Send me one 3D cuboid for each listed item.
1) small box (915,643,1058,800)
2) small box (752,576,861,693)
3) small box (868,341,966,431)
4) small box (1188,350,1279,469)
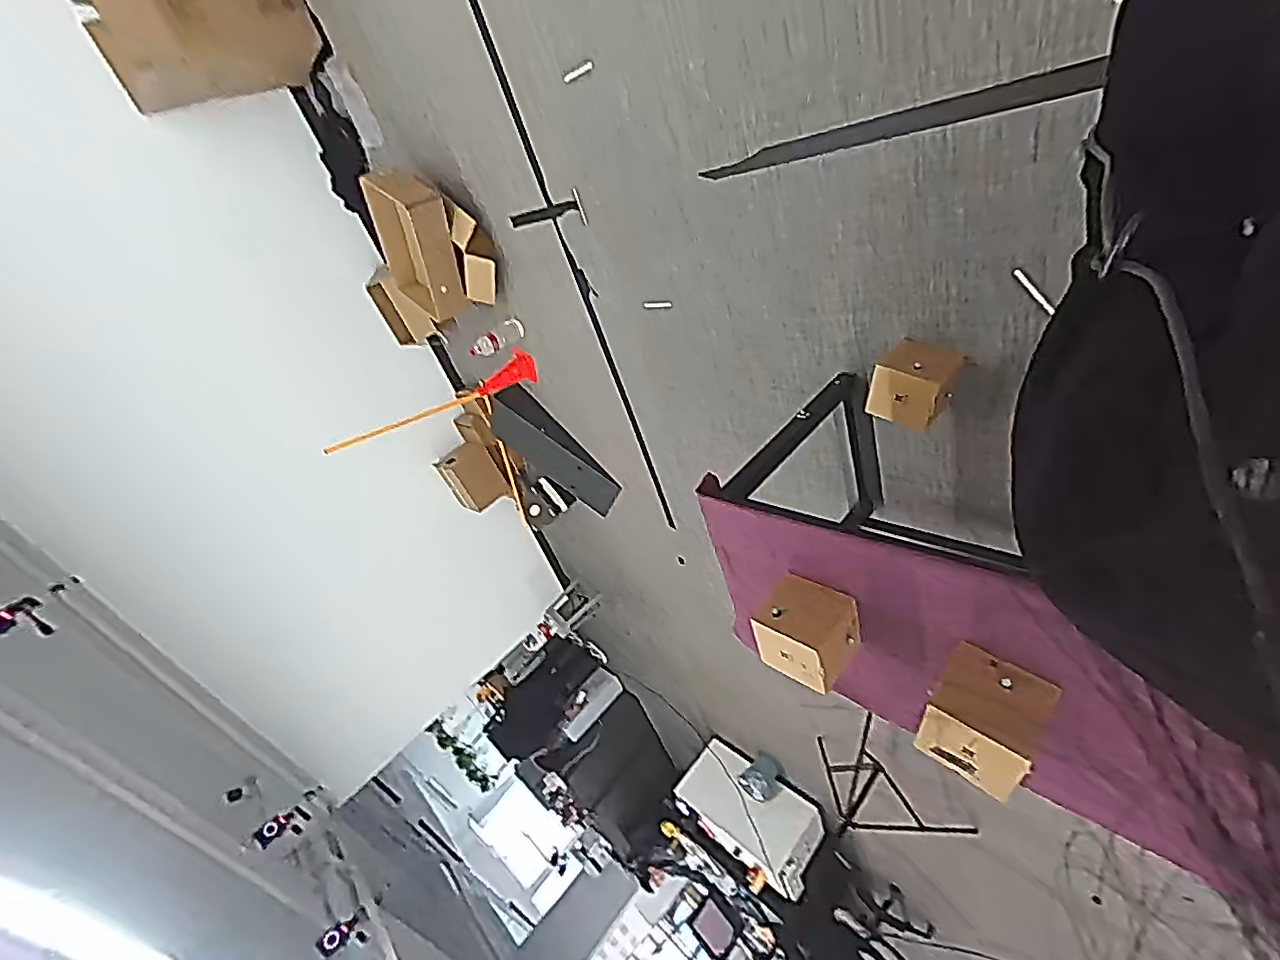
[{"bbox_3d":[0.652,0.450,1.023,0.168,0.176,0.179,26,143,36],"label":"small box"},{"bbox_3d":[0.394,0.354,1.271,0.179,0.176,0.168,18,139,44],"label":"small box"},{"bbox_3d":[0.777,-0.271,1.522,0.179,0.176,0.168,29,145,32],"label":"small box"},{"bbox_3d":[1.220,-0.141,1.049,0.179,0.176,0.168,18,137,45],"label":"small box"}]
